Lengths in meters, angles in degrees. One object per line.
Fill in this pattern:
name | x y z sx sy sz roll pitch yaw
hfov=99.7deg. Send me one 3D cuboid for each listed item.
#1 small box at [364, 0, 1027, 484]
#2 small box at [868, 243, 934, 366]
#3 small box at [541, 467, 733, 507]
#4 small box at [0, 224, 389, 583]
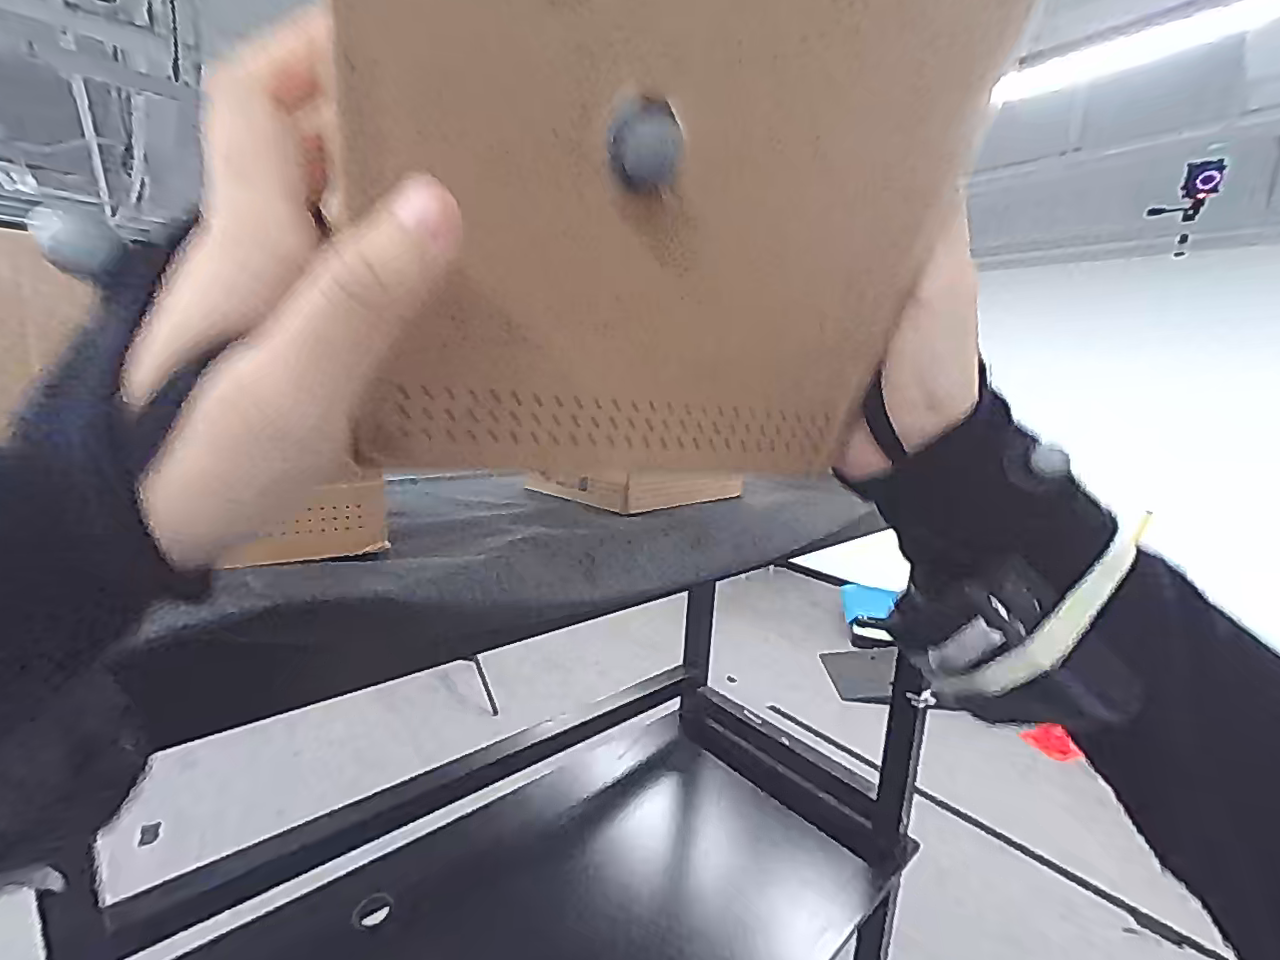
small box | -0.006 -0.109 0.220 0.179 0.176 0.168 0 33 -20
small box | 0.321 -0.268 0.840 0.168 0.176 0.179 -7 13 -37
small box | -0.004 -0.069 0.580 0.179 0.176 0.168 -6 12 -44
small box | -0.269 -0.040 0.345 0.179 0.176 0.168 -3 9 -33
